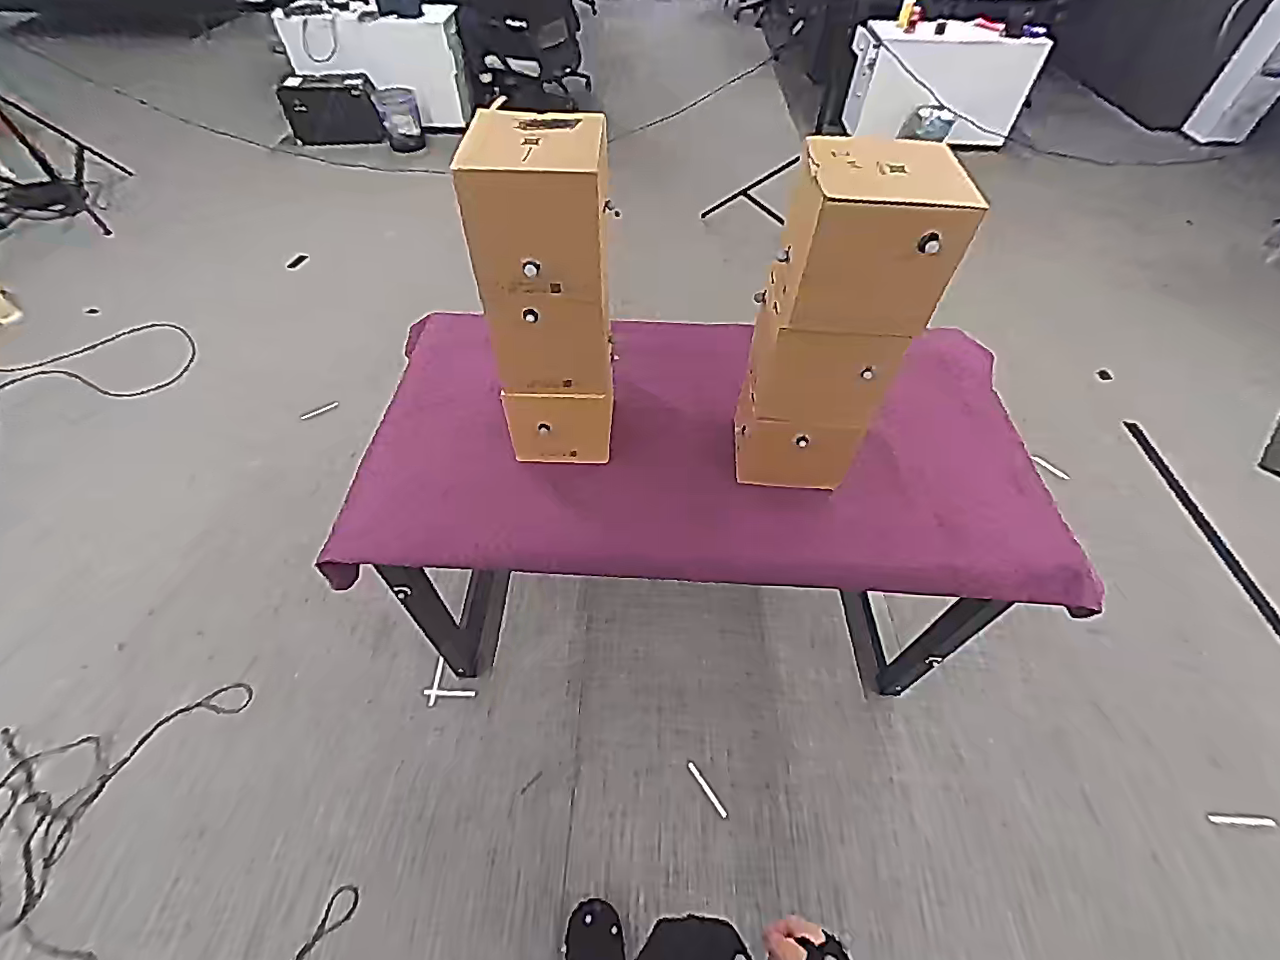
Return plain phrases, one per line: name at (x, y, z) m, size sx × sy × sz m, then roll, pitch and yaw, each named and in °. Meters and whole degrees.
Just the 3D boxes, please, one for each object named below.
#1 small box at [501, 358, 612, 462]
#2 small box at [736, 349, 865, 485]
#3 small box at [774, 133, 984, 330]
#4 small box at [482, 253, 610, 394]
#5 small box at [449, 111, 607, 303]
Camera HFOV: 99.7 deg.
small box at (-0.137, -0.147, 0.964) m, size 0.168 × 0.176 × 0.179 m, roll 1°, pitch 51°, yaw 0°
small box at (0.263, -0.106, 0.938) m, size 0.179 × 0.176 × 0.168 m, roll 4°, pitch 53°, yaw 1°
small box at (0.278, -0.305, 0.676) m, size 0.179 × 0.176 × 0.168 m, roll 3°, pitch 52°, yaw 2°
small box at (-0.134, -0.255, 0.840) m, size 0.168 × 0.176 × 0.179 m, roll 0°, pitch 51°, yaw -1°
small box at (-0.131, -0.356, 0.709) m, size 0.168 × 0.176 × 0.179 m, roll 0°, pitch 52°, yaw 0°
